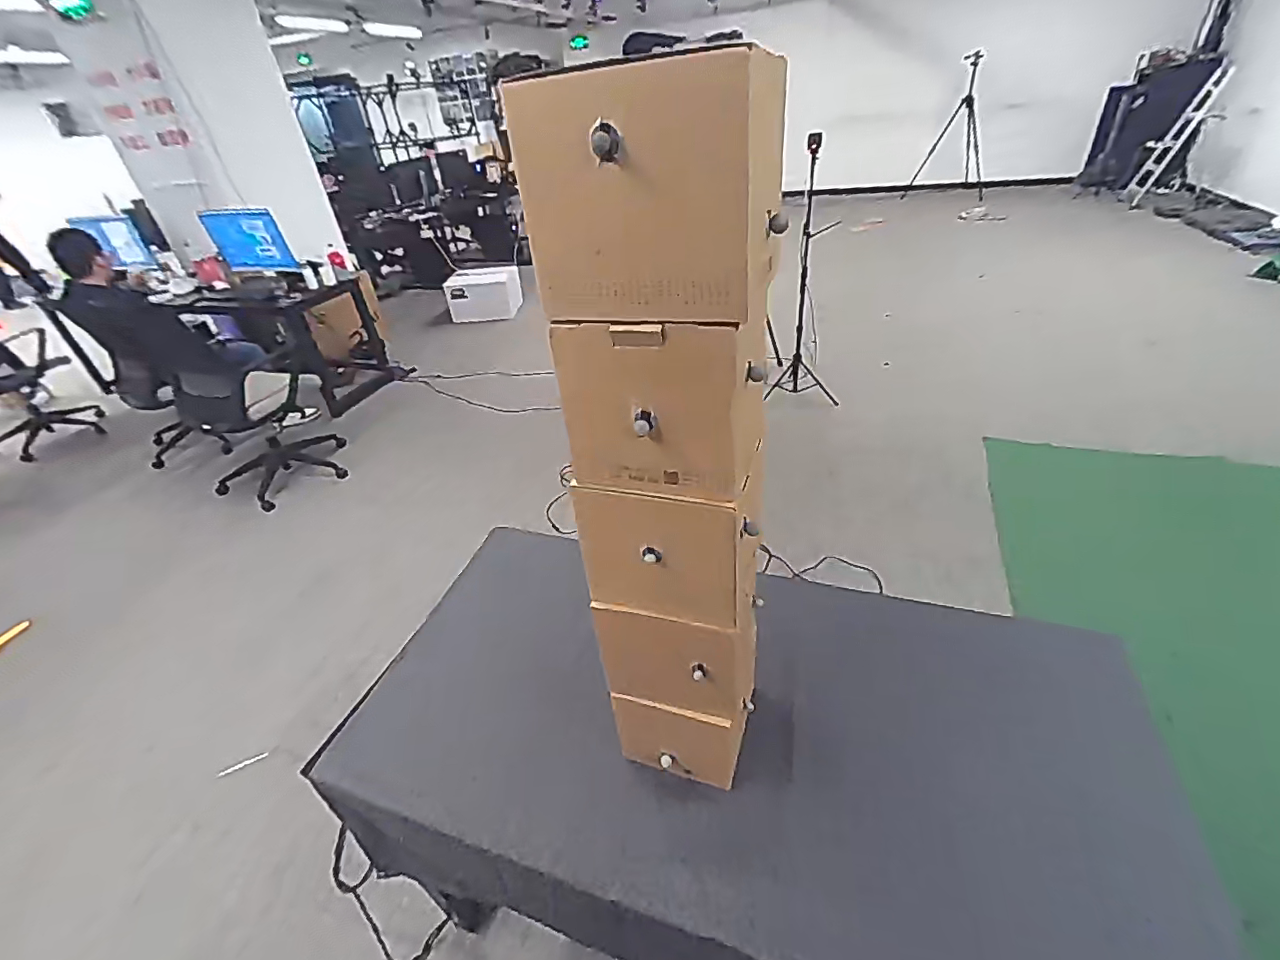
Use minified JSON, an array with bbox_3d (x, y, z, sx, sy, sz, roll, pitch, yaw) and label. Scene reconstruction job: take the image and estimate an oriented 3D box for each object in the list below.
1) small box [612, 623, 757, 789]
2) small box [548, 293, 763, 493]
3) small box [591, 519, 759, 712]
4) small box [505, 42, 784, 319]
[{"bbox_3d":[0.072,0.313,0.802,0.168,0.176,0.179,7,37,20],"label":"small box"},{"bbox_3d":[0.032,-0.105,0.549,0.168,0.176,0.179,7,36,19],"label":"small box"},{"bbox_3d":[0.055,0.177,0.714,0.179,0.176,0.168,6,35,18],"label":"small box"},{"bbox_3d":[0.019,-0.240,0.454,0.179,0.176,0.168,7,35,20],"label":"small box"}]
